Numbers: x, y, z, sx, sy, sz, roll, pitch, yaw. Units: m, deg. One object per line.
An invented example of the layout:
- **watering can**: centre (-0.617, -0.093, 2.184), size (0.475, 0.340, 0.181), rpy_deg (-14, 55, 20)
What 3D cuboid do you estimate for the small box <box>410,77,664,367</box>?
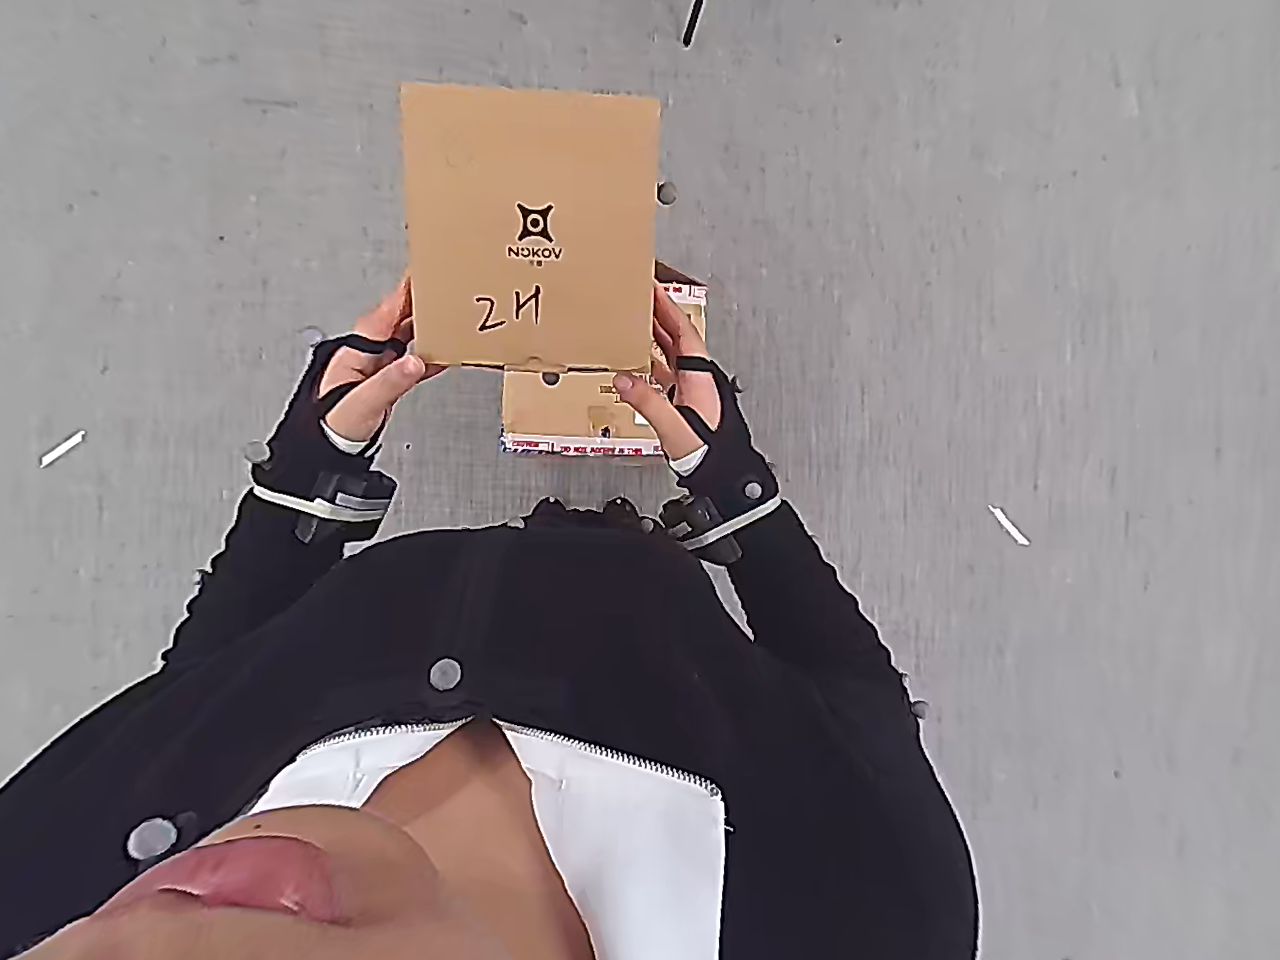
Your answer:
- **small box**: centre (-0.074, -0.186, 0.443), size (0.168, 0.176, 0.179), rpy_deg (1, 103, -3)
